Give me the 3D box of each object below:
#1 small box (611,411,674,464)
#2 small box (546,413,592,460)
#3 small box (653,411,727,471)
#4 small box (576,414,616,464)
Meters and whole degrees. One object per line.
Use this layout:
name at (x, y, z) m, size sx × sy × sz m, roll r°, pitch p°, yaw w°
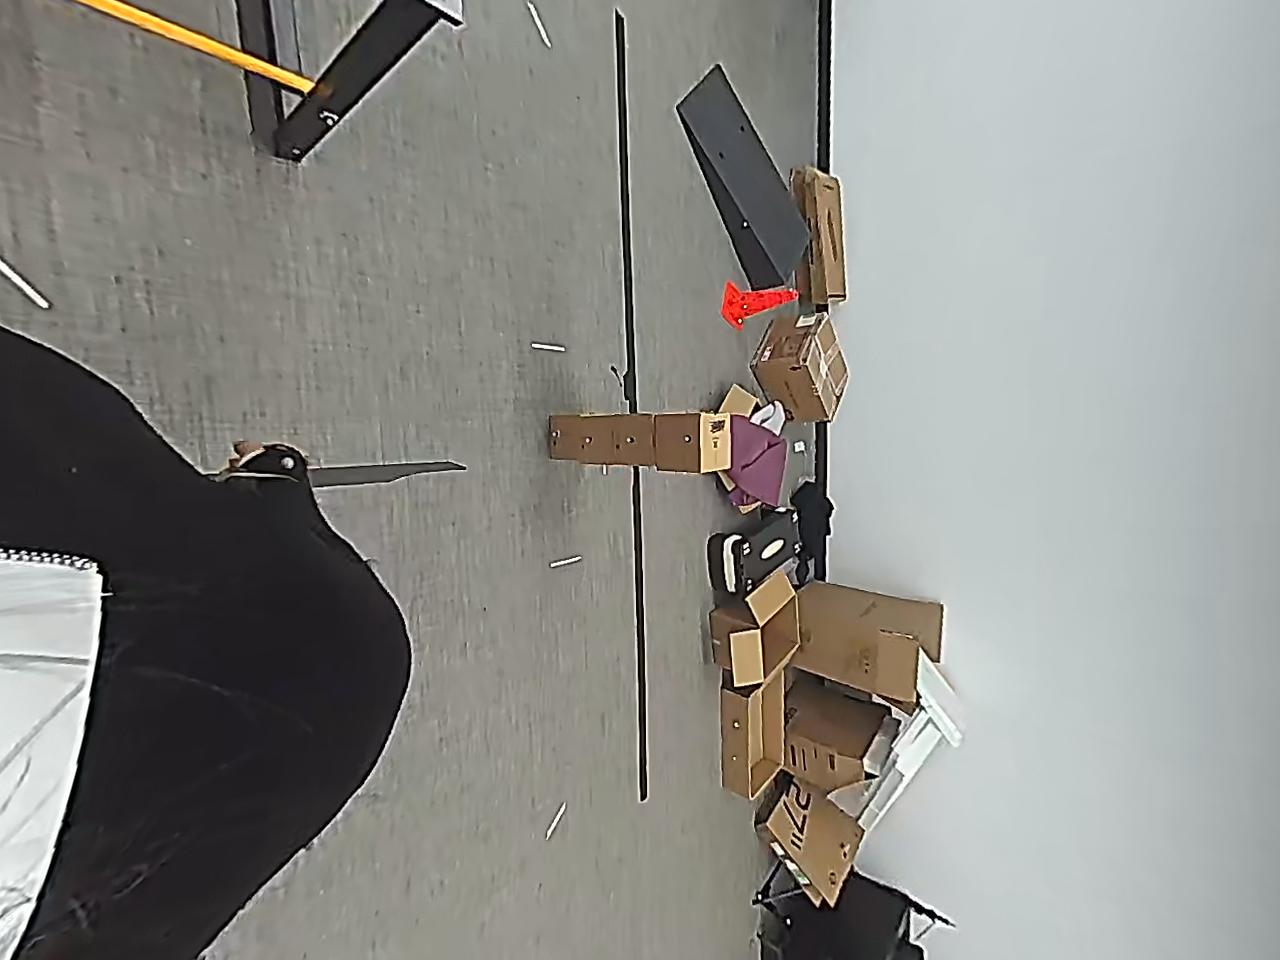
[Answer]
small box at (0.019, -0.136, 1.762) m, size 0.179 × 0.176 × 0.168 m, roll -6°, pitch 97°, yaw -49°
small box at (-0.224, -0.161, 1.982) m, size 0.179 × 0.176 × 0.168 m, roll -8°, pitch 98°, yaw -48°
small box at (0.152, -0.121, 1.663) m, size 0.168 × 0.176 × 0.179 m, roll -9°, pitch 100°, yaw -49°
small box at (-0.104, -0.144, 1.870) m, size 0.179 × 0.176 × 0.168 m, roll -7°, pitch 98°, yaw -49°
